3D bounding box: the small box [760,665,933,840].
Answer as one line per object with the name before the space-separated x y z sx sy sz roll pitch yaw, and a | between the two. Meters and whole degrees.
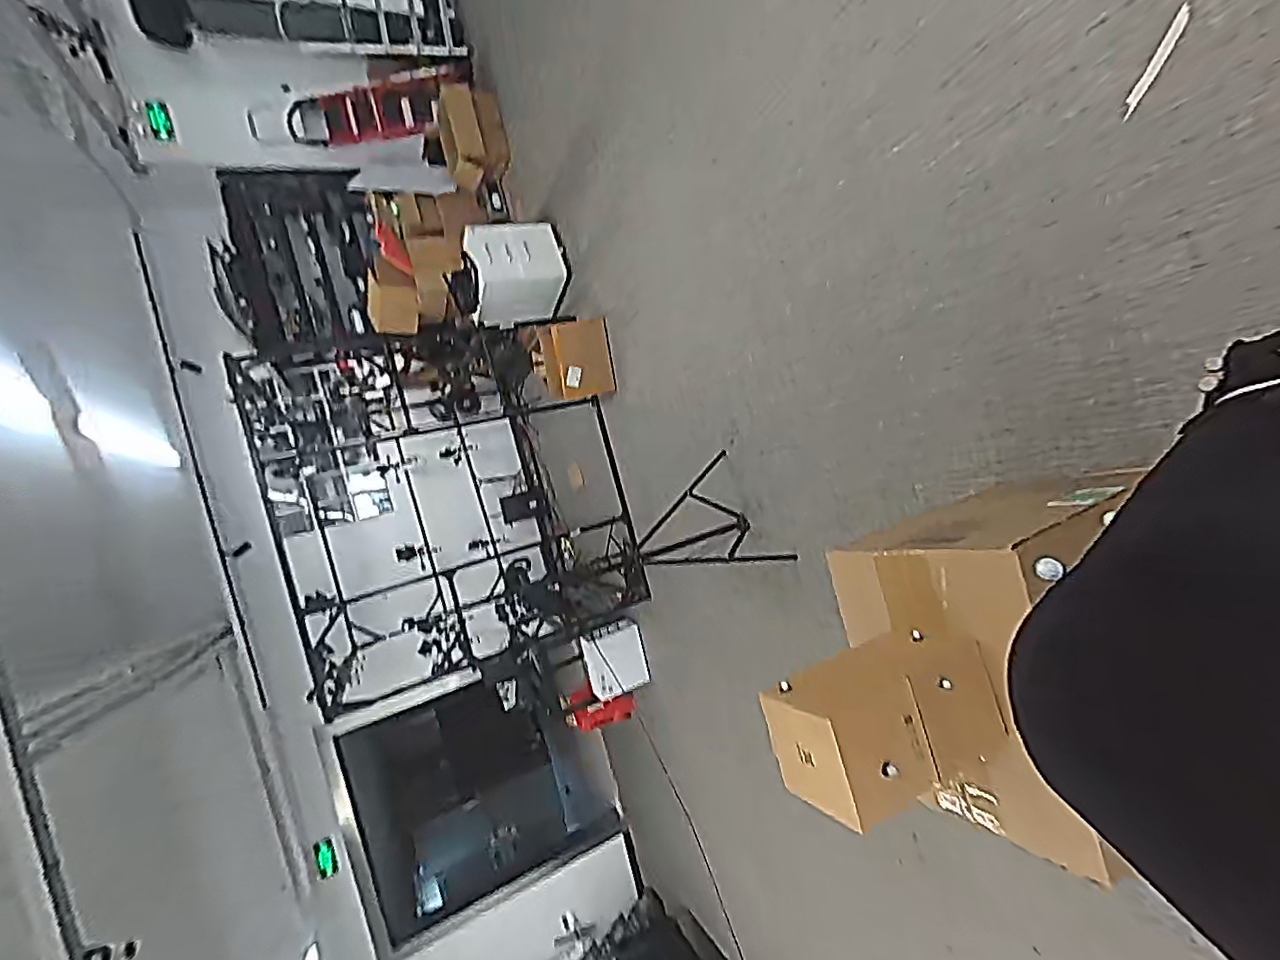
small box | 0.326 0.408 0.848 0.179 0.176 0.168 -23 83 67
